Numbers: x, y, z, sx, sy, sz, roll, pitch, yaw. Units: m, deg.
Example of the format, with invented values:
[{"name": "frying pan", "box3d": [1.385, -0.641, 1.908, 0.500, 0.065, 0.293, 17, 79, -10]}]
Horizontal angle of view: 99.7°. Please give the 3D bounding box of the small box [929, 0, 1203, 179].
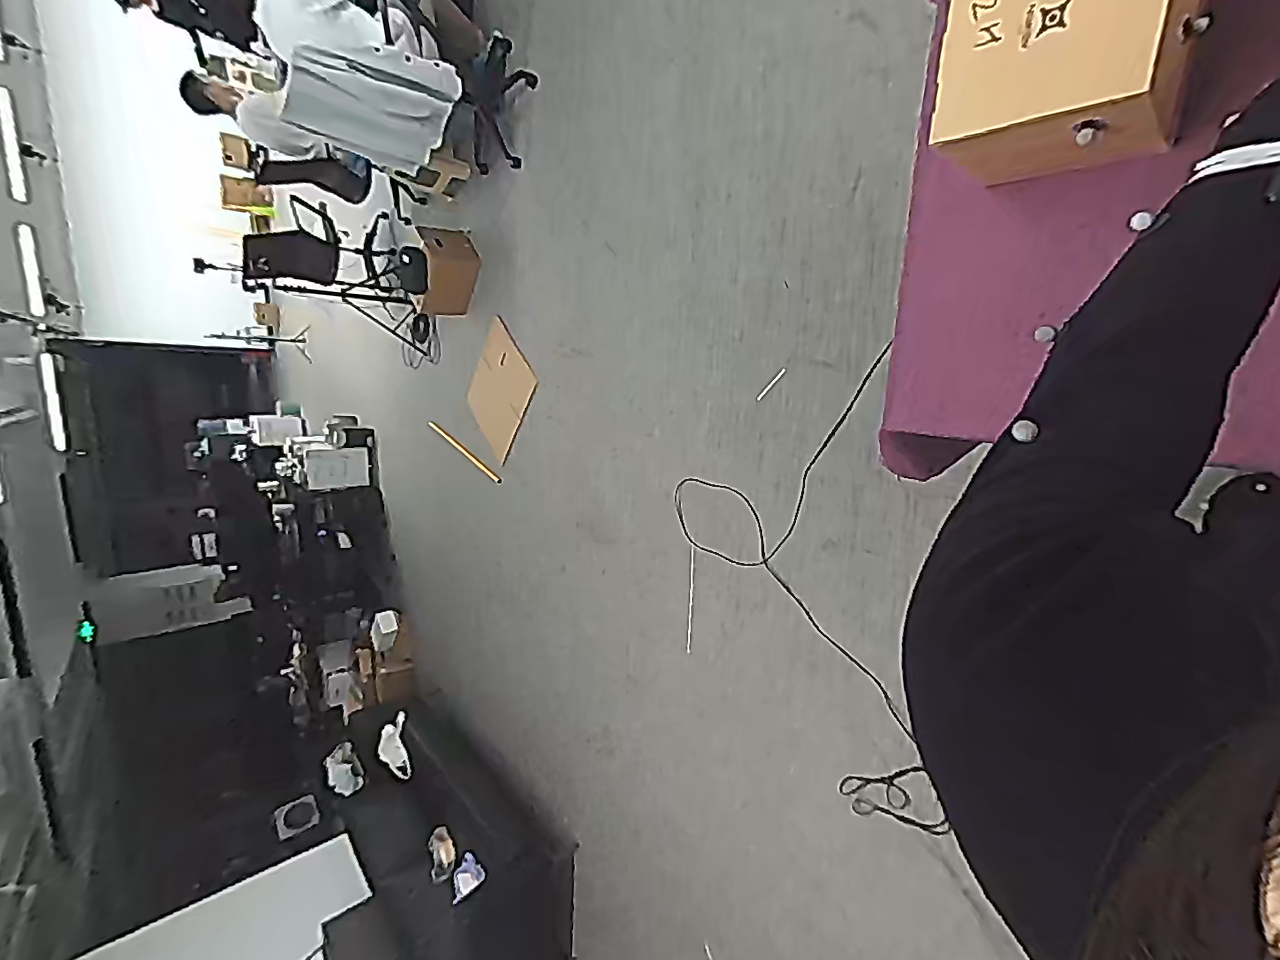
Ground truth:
[{"name": "small box", "box3d": [0.427, -0.426, 0.544, 0.179, 0.176, 0.168, 17, 108, 48]}]
